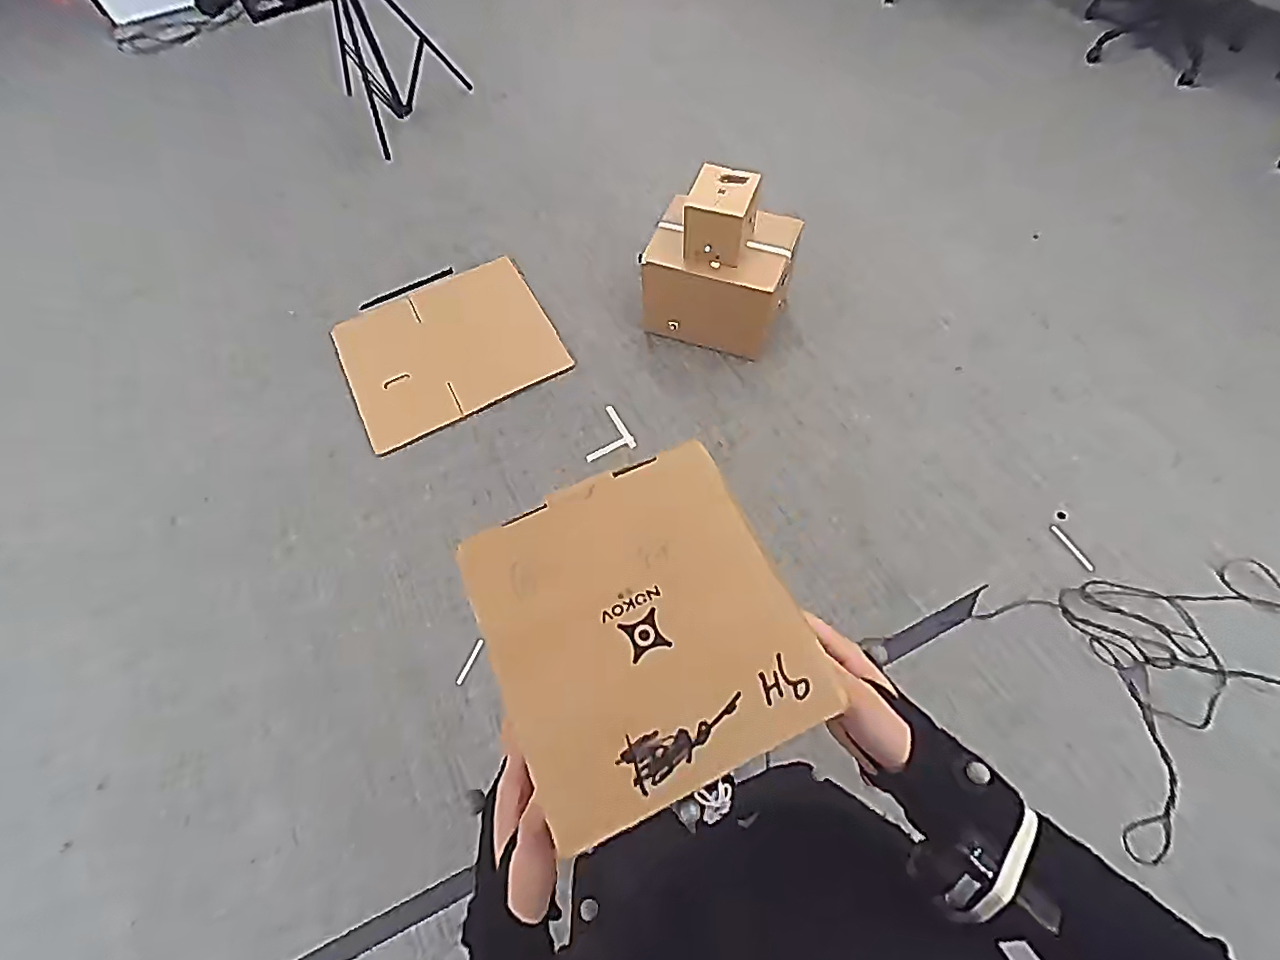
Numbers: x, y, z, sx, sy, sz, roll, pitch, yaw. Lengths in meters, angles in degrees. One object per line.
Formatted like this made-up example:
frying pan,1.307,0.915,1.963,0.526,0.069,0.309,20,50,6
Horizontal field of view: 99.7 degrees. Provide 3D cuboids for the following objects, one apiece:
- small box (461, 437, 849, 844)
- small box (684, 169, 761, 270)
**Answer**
small box,0.004,0.106,0.373,0.168,0.176,0.179,-25,67,-7
small box,0.226,-0.728,1.517,0.168,0.176,0.179,18,67,13
